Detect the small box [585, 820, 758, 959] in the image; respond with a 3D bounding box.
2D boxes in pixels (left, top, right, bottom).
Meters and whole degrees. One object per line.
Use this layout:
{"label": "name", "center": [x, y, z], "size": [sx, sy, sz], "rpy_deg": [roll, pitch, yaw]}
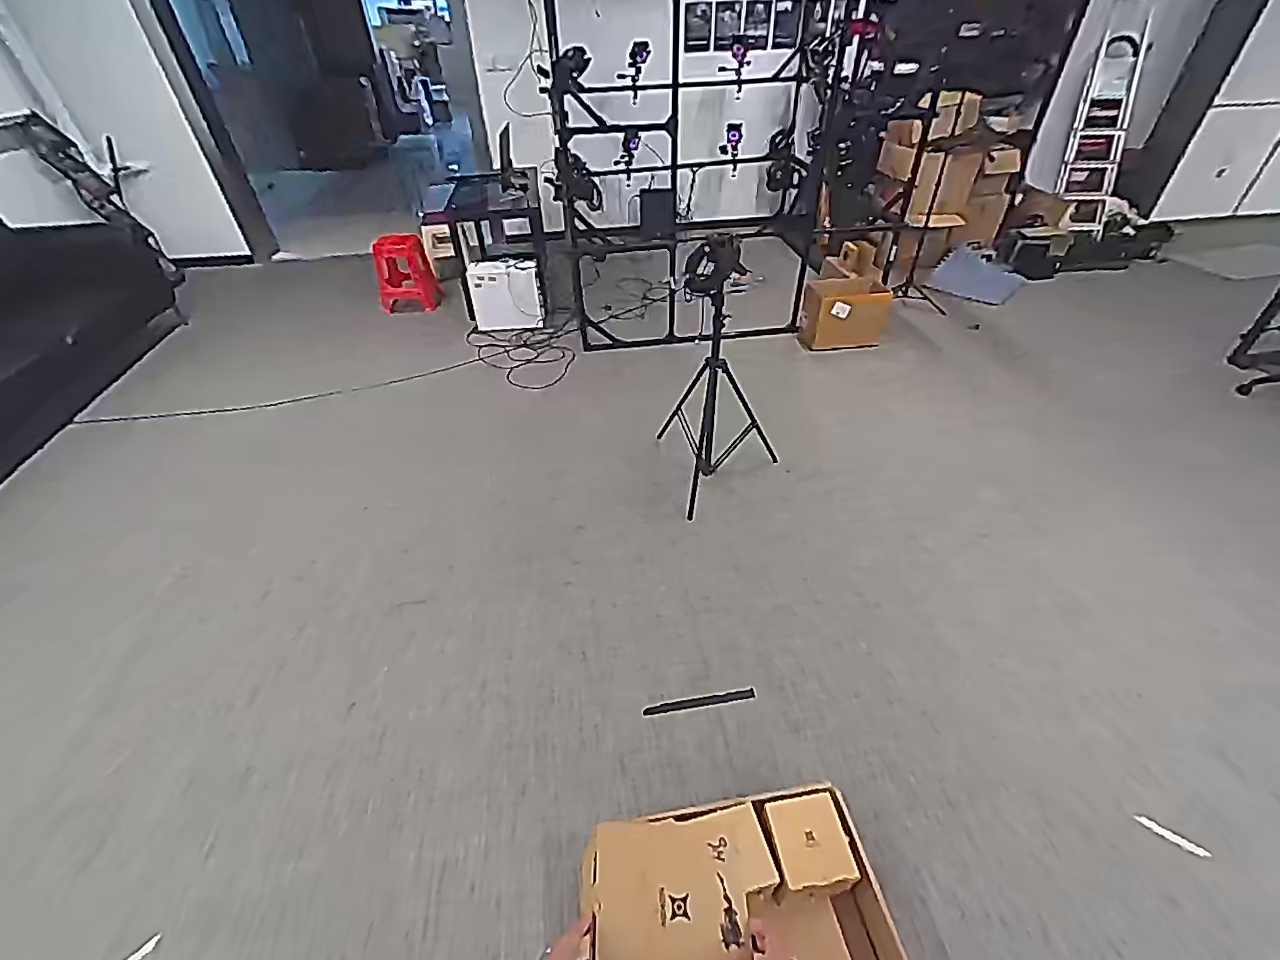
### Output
{"label": "small box", "center": [0.026, 0.523, 0.641], "size": [0.179, 0.176, 0.168], "rpy_deg": [4, 43, -7]}
